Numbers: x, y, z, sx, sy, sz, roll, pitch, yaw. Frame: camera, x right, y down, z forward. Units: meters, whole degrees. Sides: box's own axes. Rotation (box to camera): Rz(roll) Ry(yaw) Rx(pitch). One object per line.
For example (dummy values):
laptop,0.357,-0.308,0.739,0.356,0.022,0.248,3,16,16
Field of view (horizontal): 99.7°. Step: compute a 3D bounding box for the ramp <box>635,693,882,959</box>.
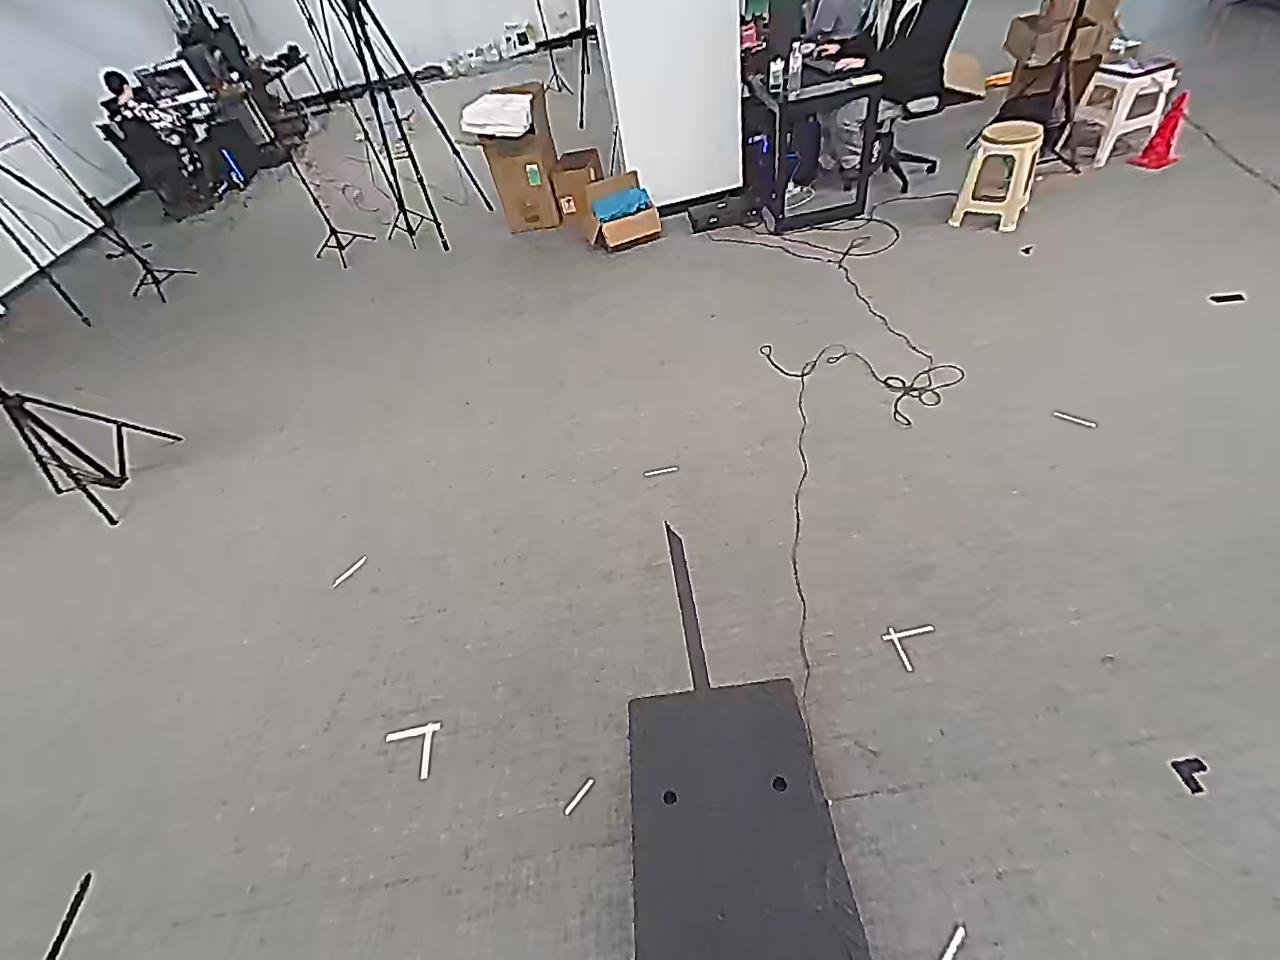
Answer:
ramp,0.248,0.961,1.208,0.509,0.206,0.991,-13,44,3
